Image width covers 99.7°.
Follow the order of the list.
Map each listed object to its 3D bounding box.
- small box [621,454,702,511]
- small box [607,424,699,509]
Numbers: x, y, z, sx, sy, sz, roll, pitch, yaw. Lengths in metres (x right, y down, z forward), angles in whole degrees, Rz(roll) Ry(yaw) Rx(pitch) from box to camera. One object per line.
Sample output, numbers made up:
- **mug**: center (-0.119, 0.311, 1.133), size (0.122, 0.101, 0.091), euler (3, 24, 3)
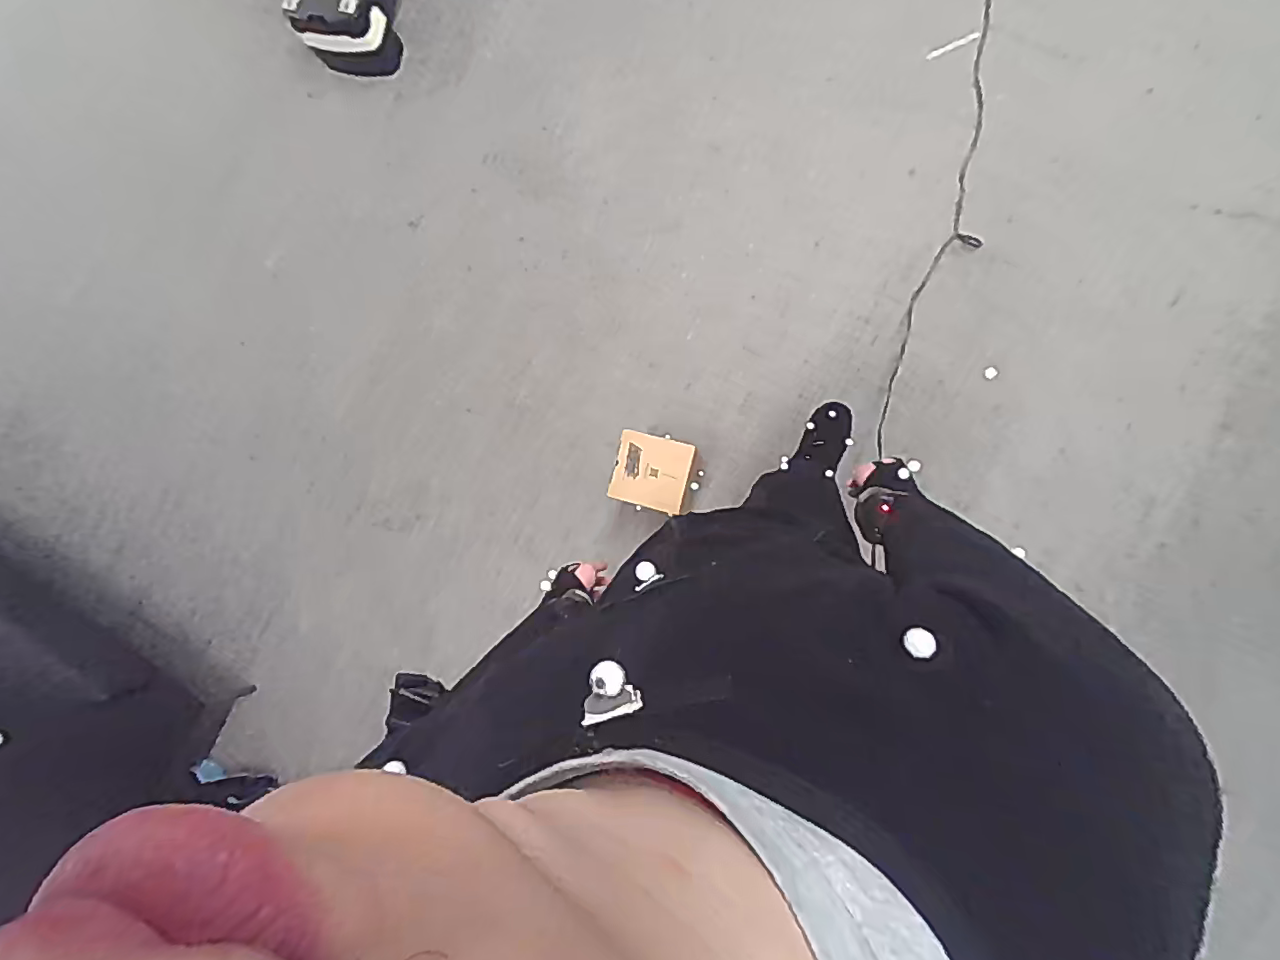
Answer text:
- **small box**: center (0.065, -0.017, 1.487), size (0.179, 0.176, 0.168), euler (14, 90, 13)
- **small box**: center (0.038, -0.028, 1.325), size (0.179, 0.176, 0.168), euler (15, 91, 10)
